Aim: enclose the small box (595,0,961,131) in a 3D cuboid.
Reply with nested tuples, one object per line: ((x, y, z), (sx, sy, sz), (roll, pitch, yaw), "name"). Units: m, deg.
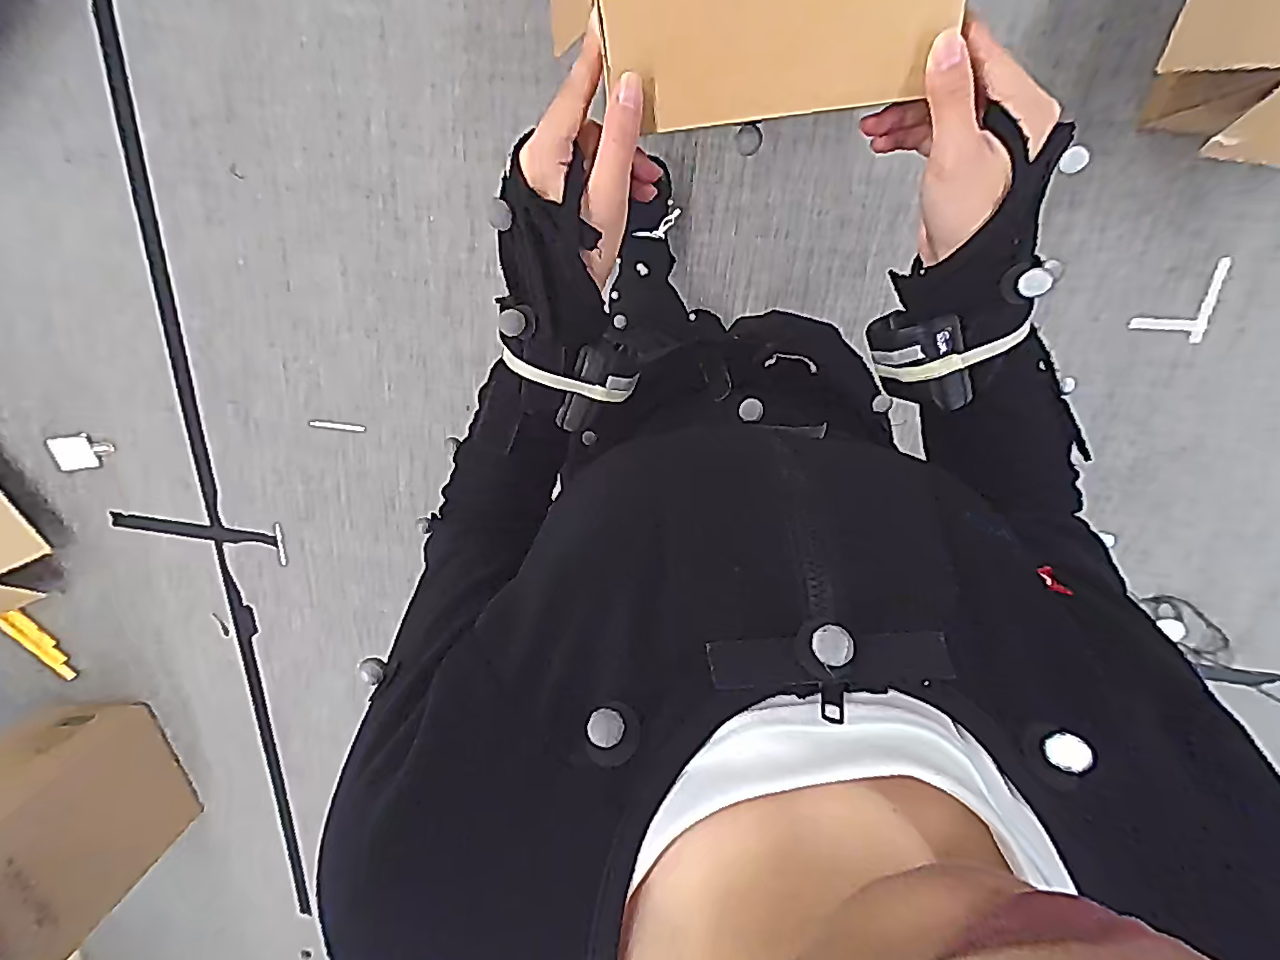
((0.061, -0.303, 0.299), (0.179, 0.176, 0.168), (-5, 124, 3), "small box")
